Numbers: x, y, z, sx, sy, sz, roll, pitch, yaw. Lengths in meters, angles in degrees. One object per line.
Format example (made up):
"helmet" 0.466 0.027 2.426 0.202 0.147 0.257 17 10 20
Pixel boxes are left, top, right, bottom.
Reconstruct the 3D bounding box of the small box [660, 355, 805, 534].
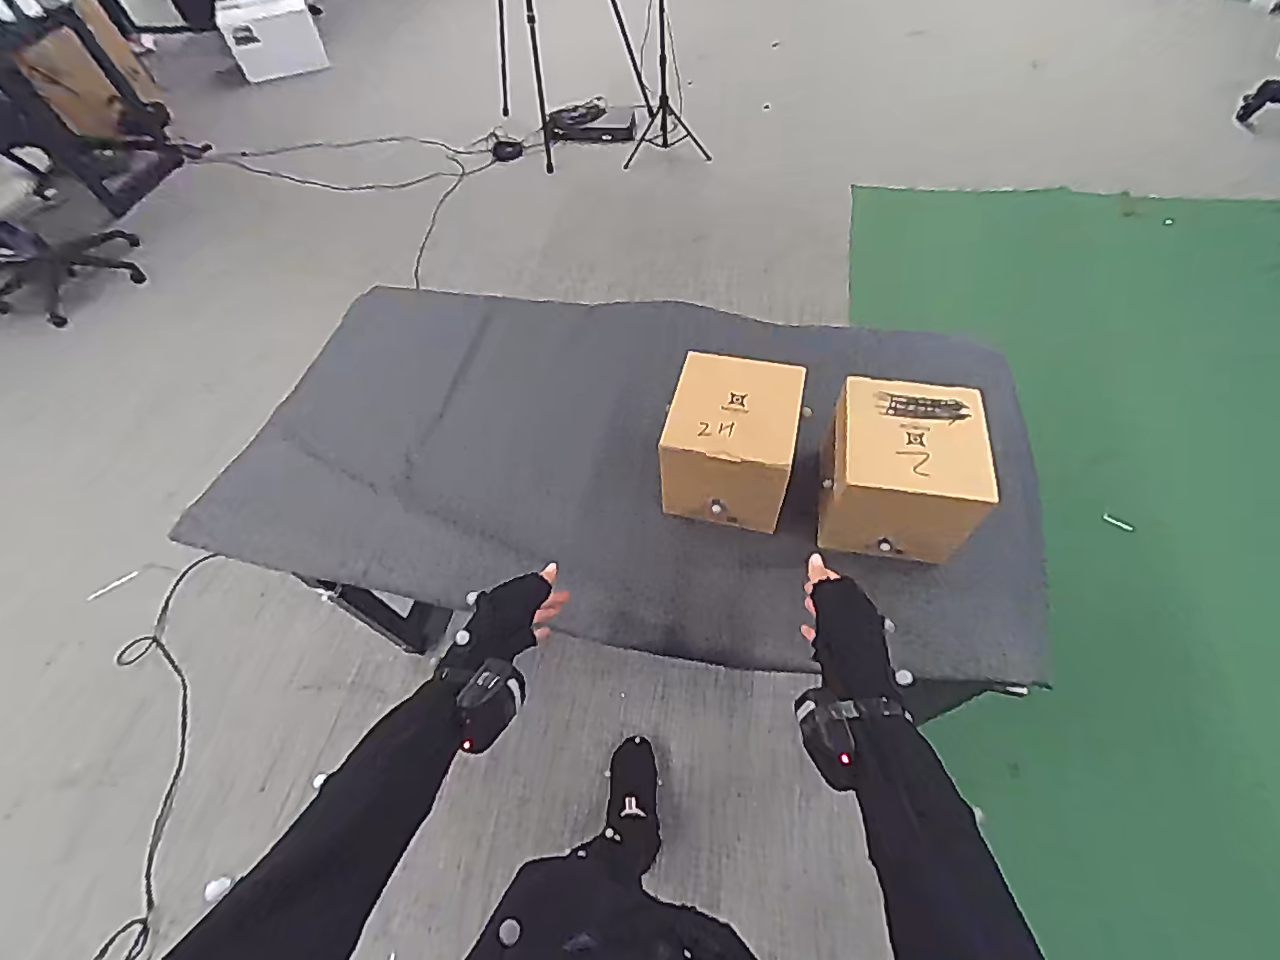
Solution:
"small box" 0.129 -0.049 0.773 0.168 0.176 0.179 10 57 12
